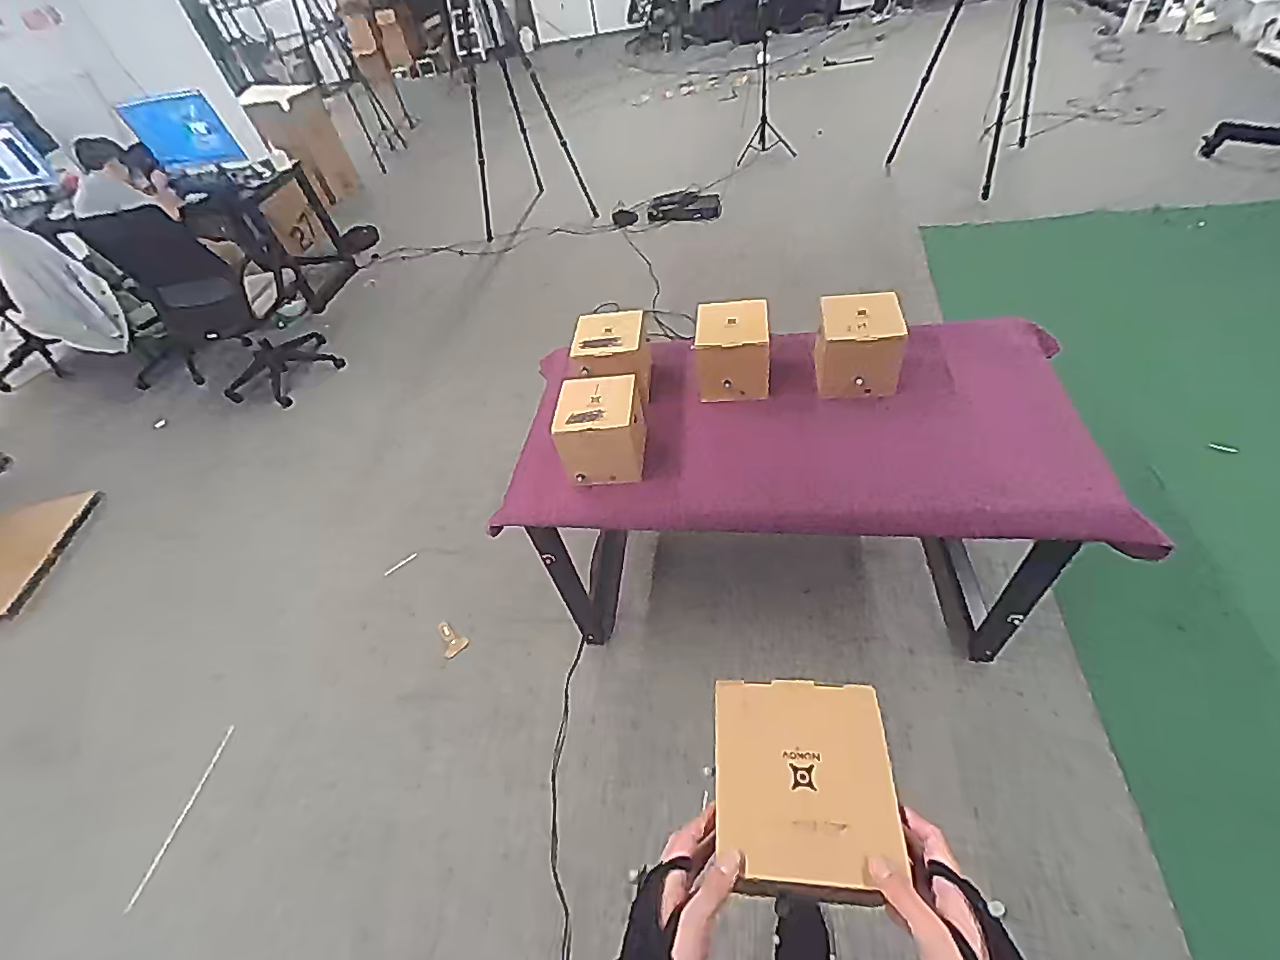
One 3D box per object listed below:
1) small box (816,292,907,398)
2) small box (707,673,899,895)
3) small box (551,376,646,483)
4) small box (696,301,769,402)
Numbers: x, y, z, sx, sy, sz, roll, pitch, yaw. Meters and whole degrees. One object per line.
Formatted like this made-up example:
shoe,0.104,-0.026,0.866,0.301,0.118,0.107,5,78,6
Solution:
small box,0.502,-0.310,1.251,0.168,0.176,0.179,-1,50,13
small box,0.159,0.328,0.584,0.168,0.176,0.179,-2,51,10
small box,-0.083,-0.105,1.204,0.168,0.176,0.179,-3,47,10
small box,0.228,-0.312,1.319,0.168,0.176,0.179,-1,50,12
